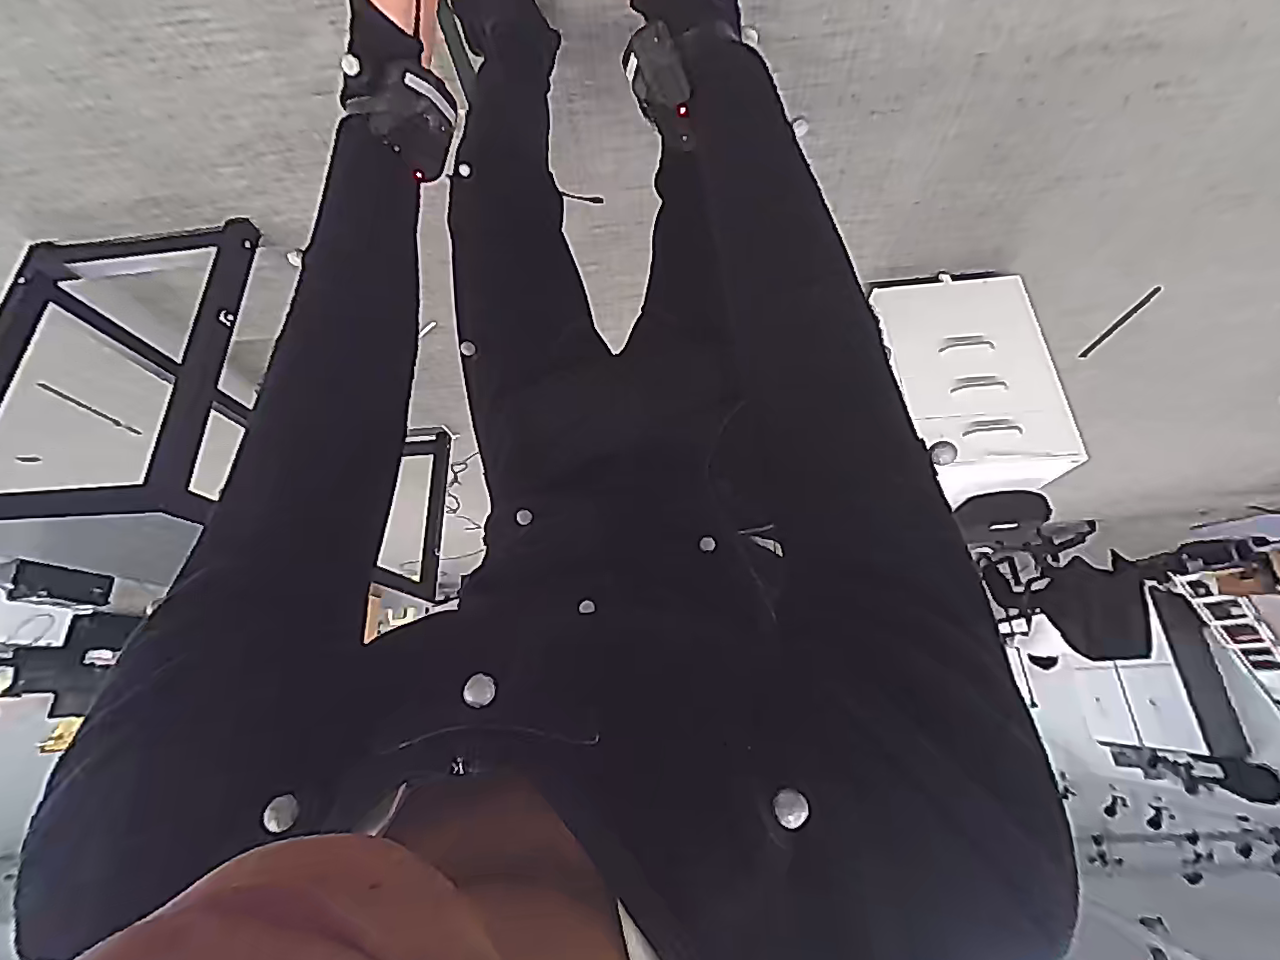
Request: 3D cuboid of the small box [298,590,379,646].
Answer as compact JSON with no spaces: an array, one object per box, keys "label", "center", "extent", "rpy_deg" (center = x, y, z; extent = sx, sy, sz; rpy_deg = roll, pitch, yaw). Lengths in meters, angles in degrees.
[{"label":"small box","center":[-0.998,0.466,1.806],"extent":[0.179,0.176,0.168],"rpy_deg":[-5,158,5]}]
